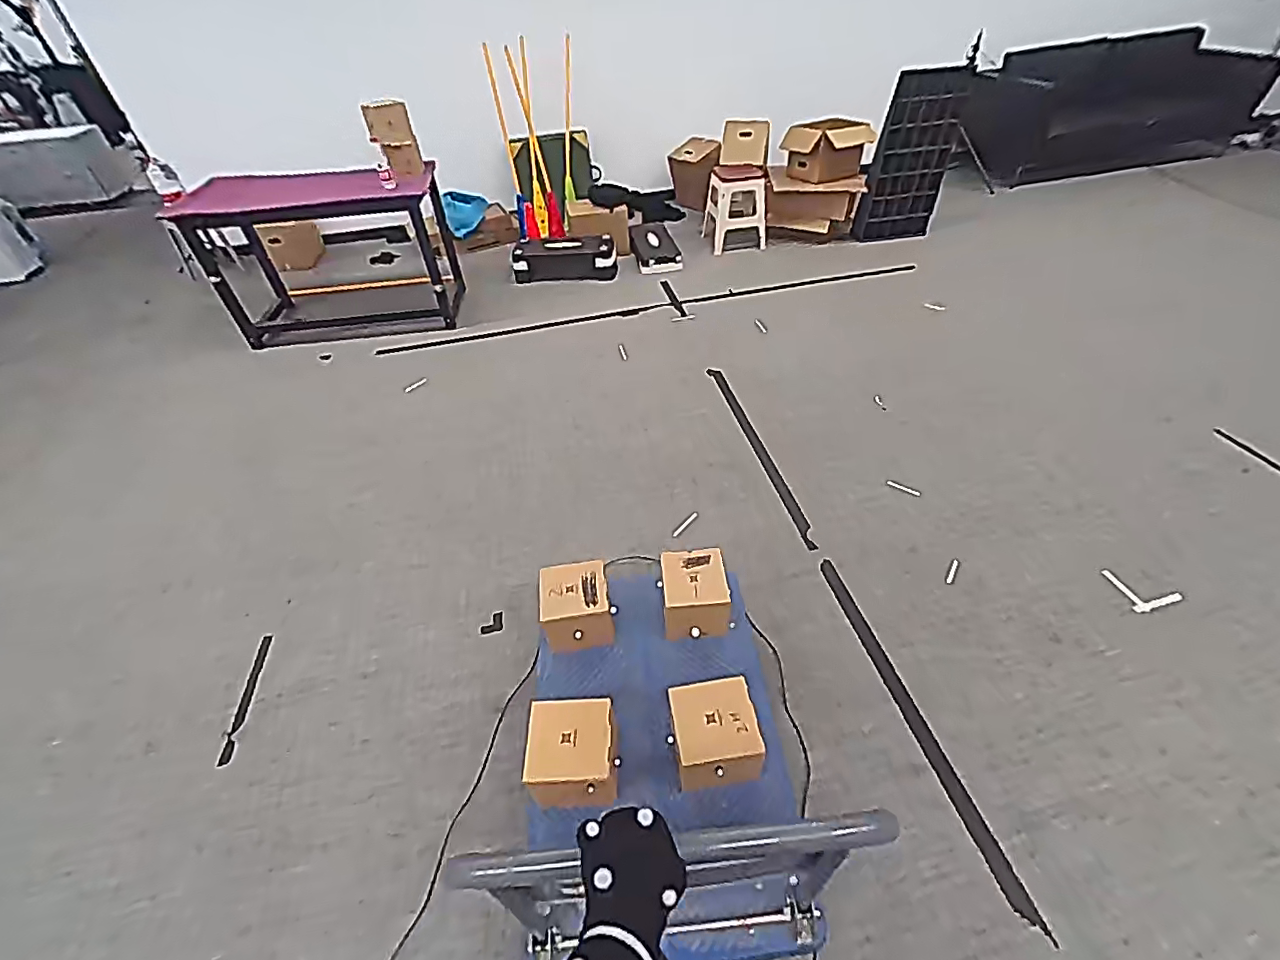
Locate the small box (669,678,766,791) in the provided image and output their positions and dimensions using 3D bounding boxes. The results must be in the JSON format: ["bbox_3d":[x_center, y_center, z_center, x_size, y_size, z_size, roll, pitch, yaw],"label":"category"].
[{"bbox_3d":[0.166,0.565,1.195,0.179,0.176,0.168,-8,44,-4],"label":"small box"}]

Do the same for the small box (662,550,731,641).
[{"bbox_3d":[0.147,0.312,1.463,0.168,0.176,0.179,-5,45,0],"label":"small box"}]

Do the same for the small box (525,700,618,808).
[{"bbox_3d":[-0.141,0.602,1.183,0.179,0.176,0.168,-3,43,0],"label":"small box"}]
